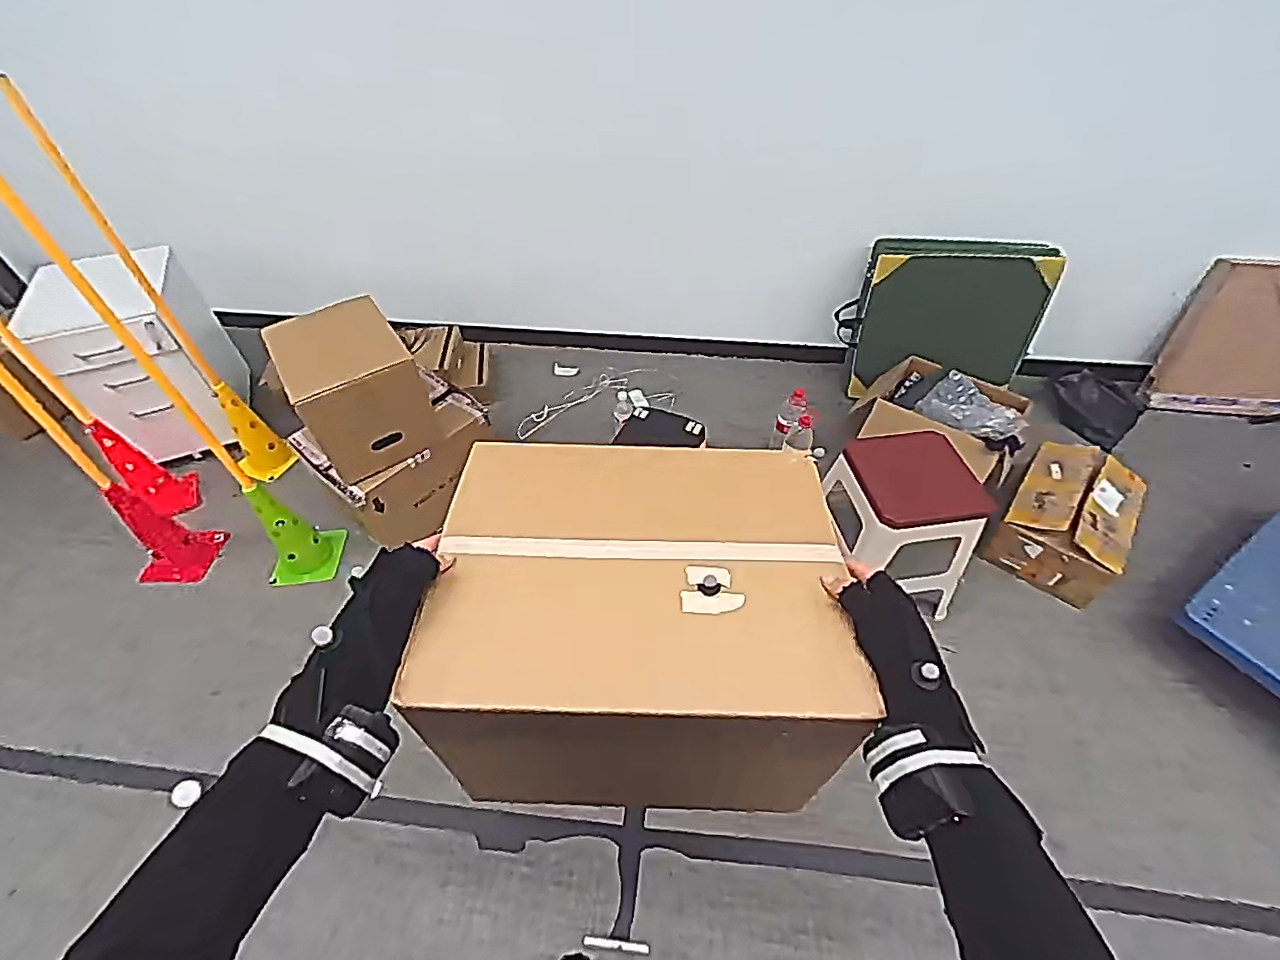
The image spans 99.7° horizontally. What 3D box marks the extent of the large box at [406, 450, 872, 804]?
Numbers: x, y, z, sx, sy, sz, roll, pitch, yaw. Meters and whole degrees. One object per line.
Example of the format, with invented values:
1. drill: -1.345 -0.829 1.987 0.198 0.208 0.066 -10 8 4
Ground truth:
1. large box: -0.003 0.182 0.661 0.408 0.320 0.320 2 47 0
